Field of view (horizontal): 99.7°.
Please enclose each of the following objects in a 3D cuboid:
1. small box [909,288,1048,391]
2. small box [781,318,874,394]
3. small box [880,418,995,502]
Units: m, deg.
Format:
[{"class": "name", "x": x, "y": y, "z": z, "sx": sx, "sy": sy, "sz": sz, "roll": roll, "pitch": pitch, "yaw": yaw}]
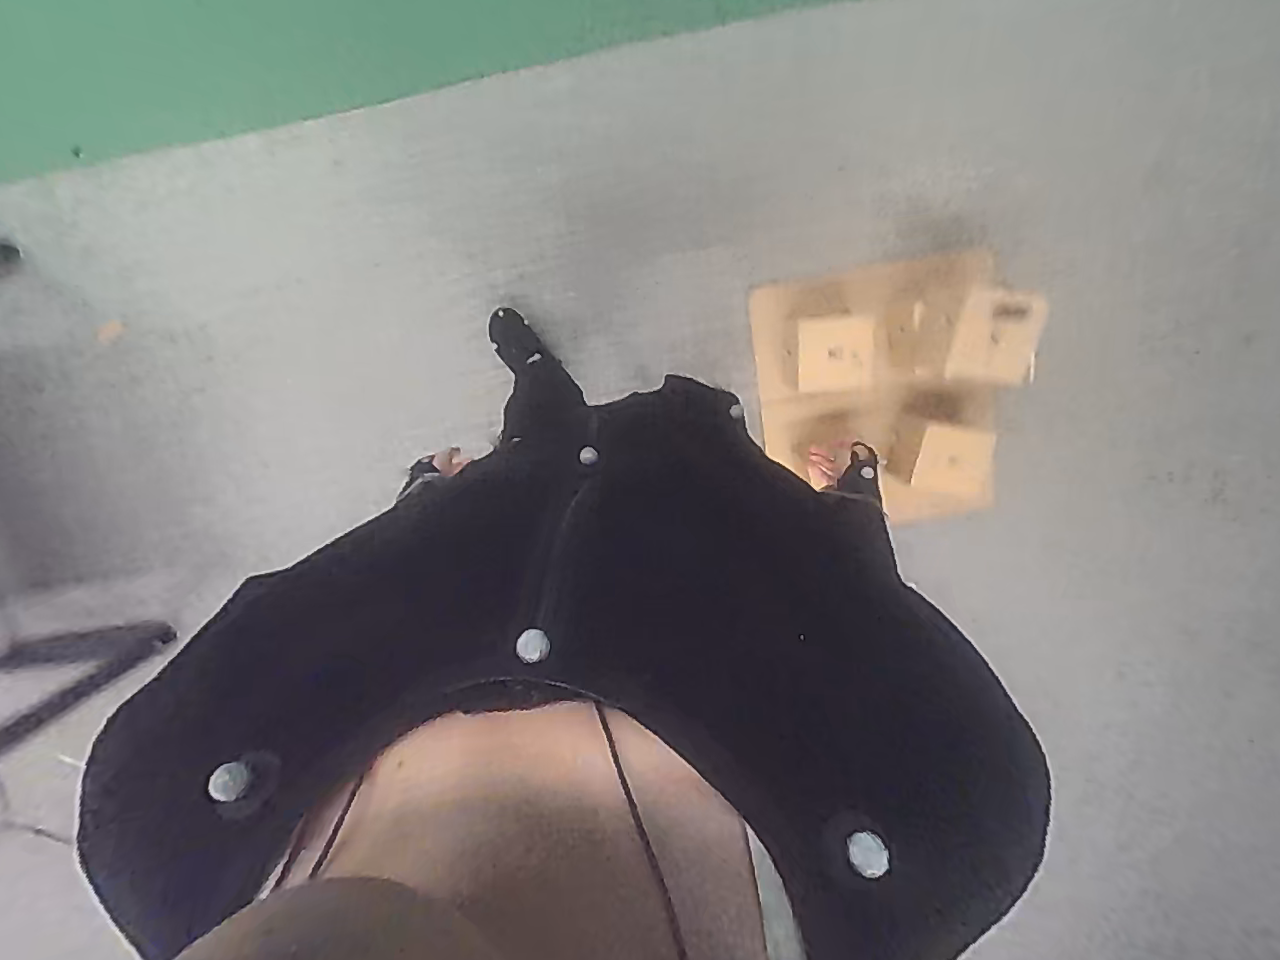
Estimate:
[{"class": "small box", "x": 0.706, "y": -0.299, "z": 1.153, "sx": 0.168, "sy": 0.176, "sz": 0.179, "roll": 9, "pitch": 106, "yaw": -2}, {"class": "small box", "x": 0.450, "y": -0.304, "z": 1.324, "sx": 0.179, "sy": 0.176, "sz": 0.168, "roll": -3, "pitch": 106, "yaw": 2}, {"class": "small box", "x": 0.752, "y": -0.056, "z": 1.385, "sx": 0.179, "sy": 0.176, "sz": 0.168, "roll": 9, "pitch": 105, "yaw": -2}]
